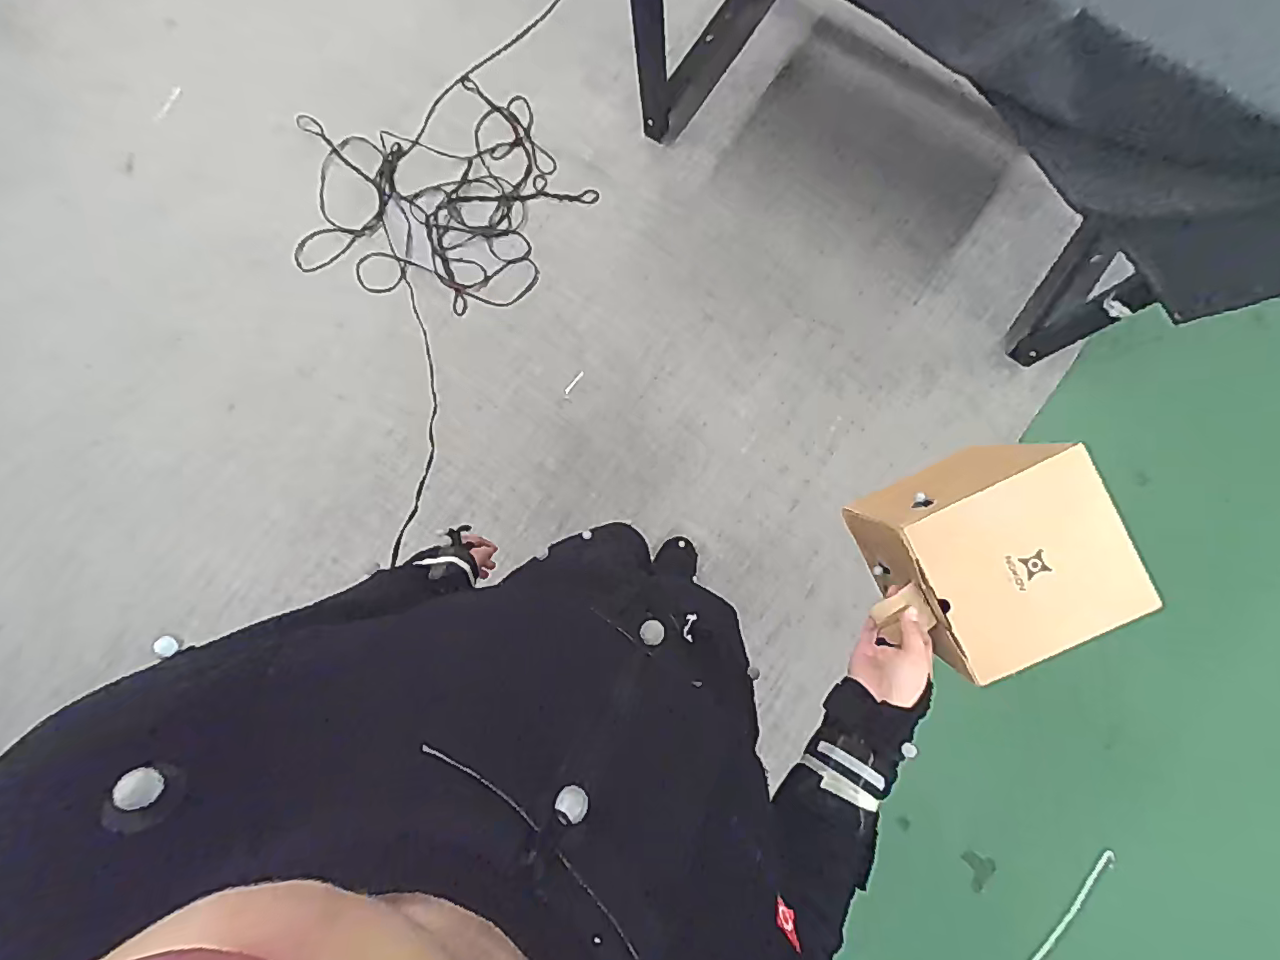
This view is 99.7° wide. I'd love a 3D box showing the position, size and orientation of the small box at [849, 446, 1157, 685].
[{"bbox_3d":[0.353,0.073,0.564,0.179,0.176,0.168,-28,91,5],"label":"small box"}]
